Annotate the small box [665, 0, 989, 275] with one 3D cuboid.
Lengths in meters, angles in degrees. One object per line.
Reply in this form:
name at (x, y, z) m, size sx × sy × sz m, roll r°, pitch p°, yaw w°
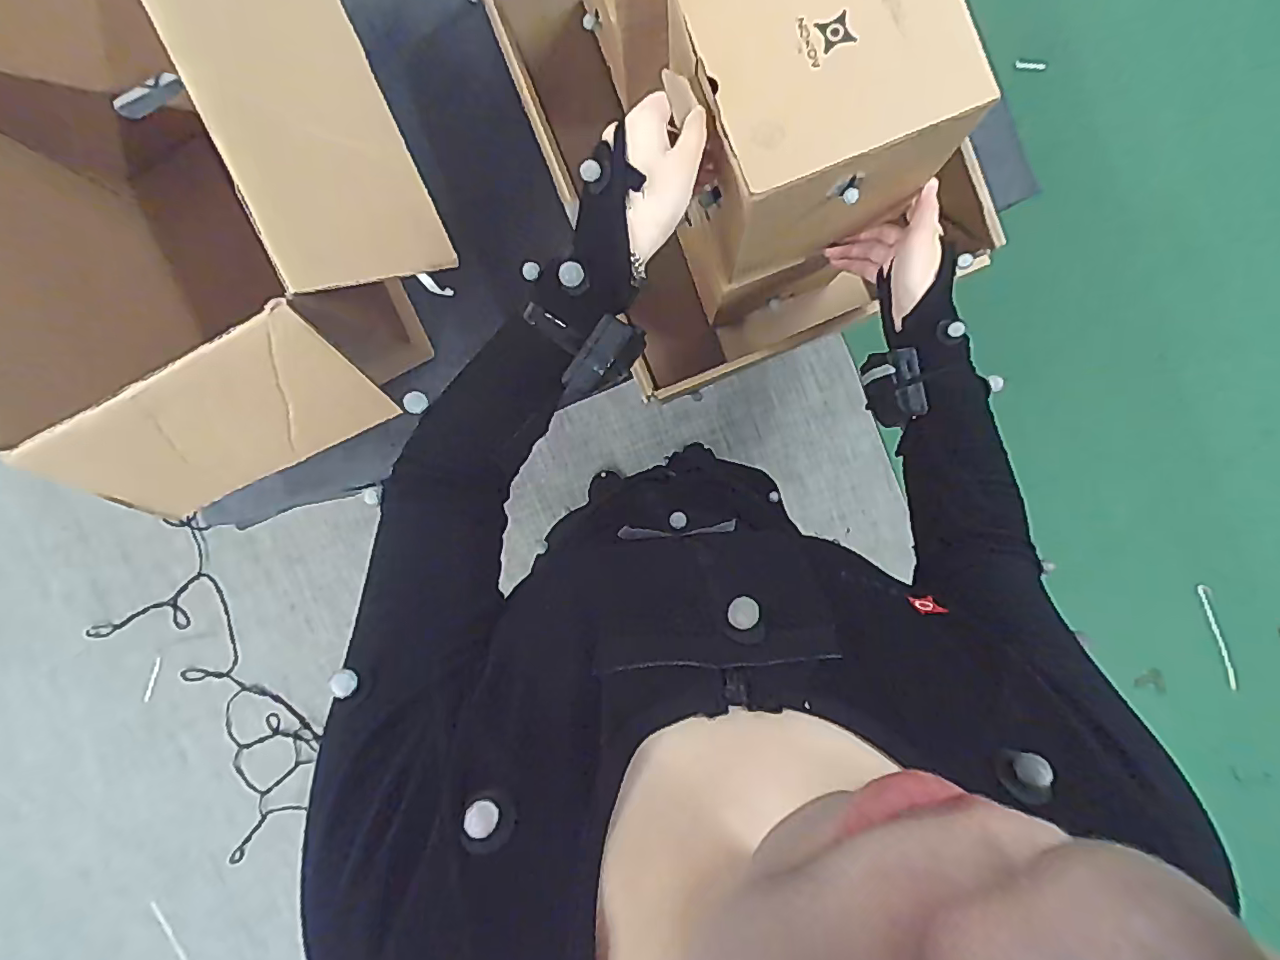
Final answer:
small box at (0.131, -0.298, 0.446) m, size 0.179 × 0.176 × 0.168 m, roll -21°, pitch 90°, yaw 3°
